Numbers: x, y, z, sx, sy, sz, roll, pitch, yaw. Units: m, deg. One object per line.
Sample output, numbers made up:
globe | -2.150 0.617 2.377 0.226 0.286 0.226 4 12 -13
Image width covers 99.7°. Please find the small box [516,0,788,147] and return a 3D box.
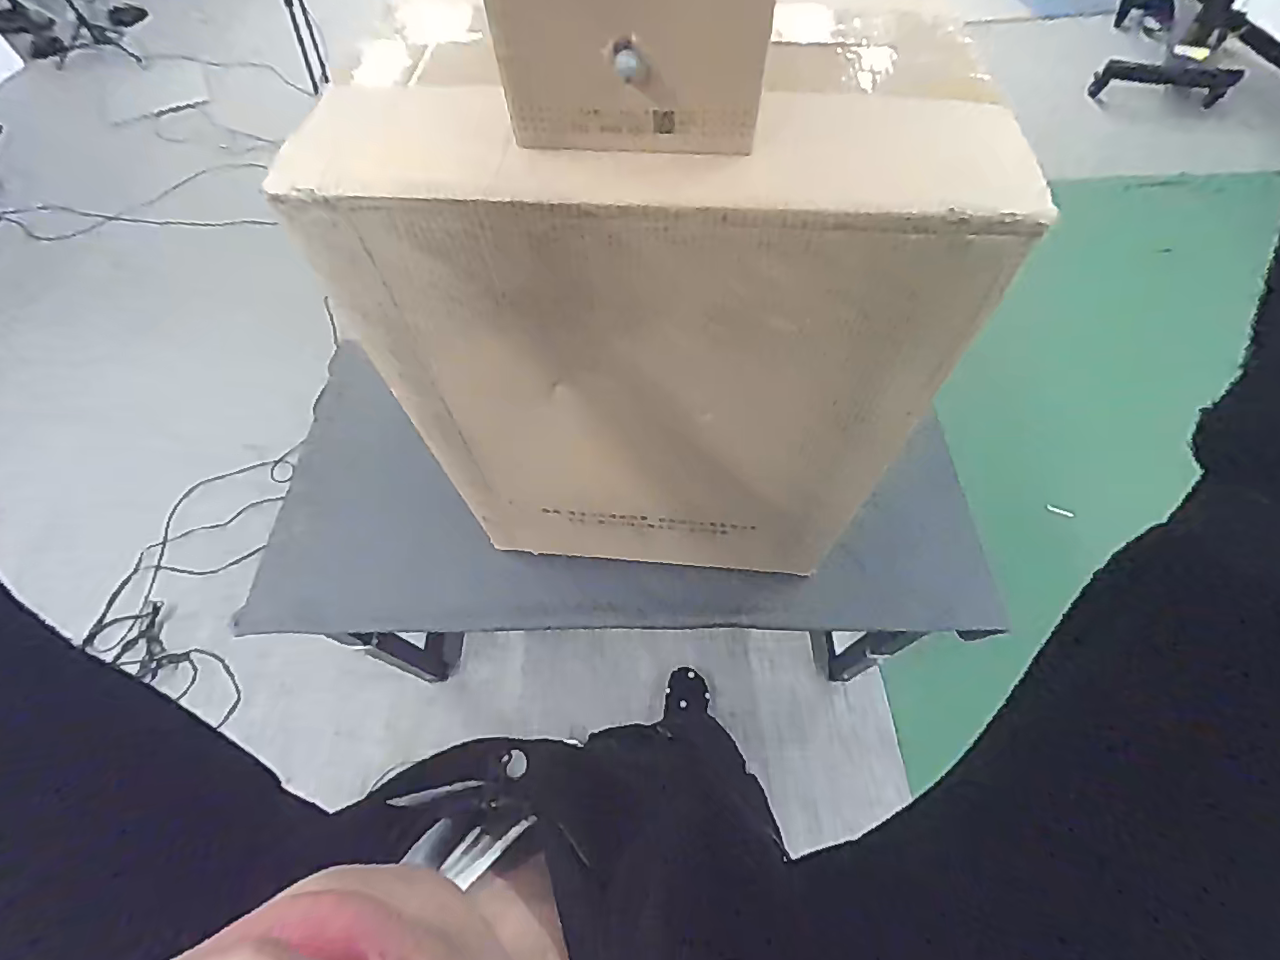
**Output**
small box | 0.011 -0.351 0.347 0.168 0.176 0.179 4 62 4
